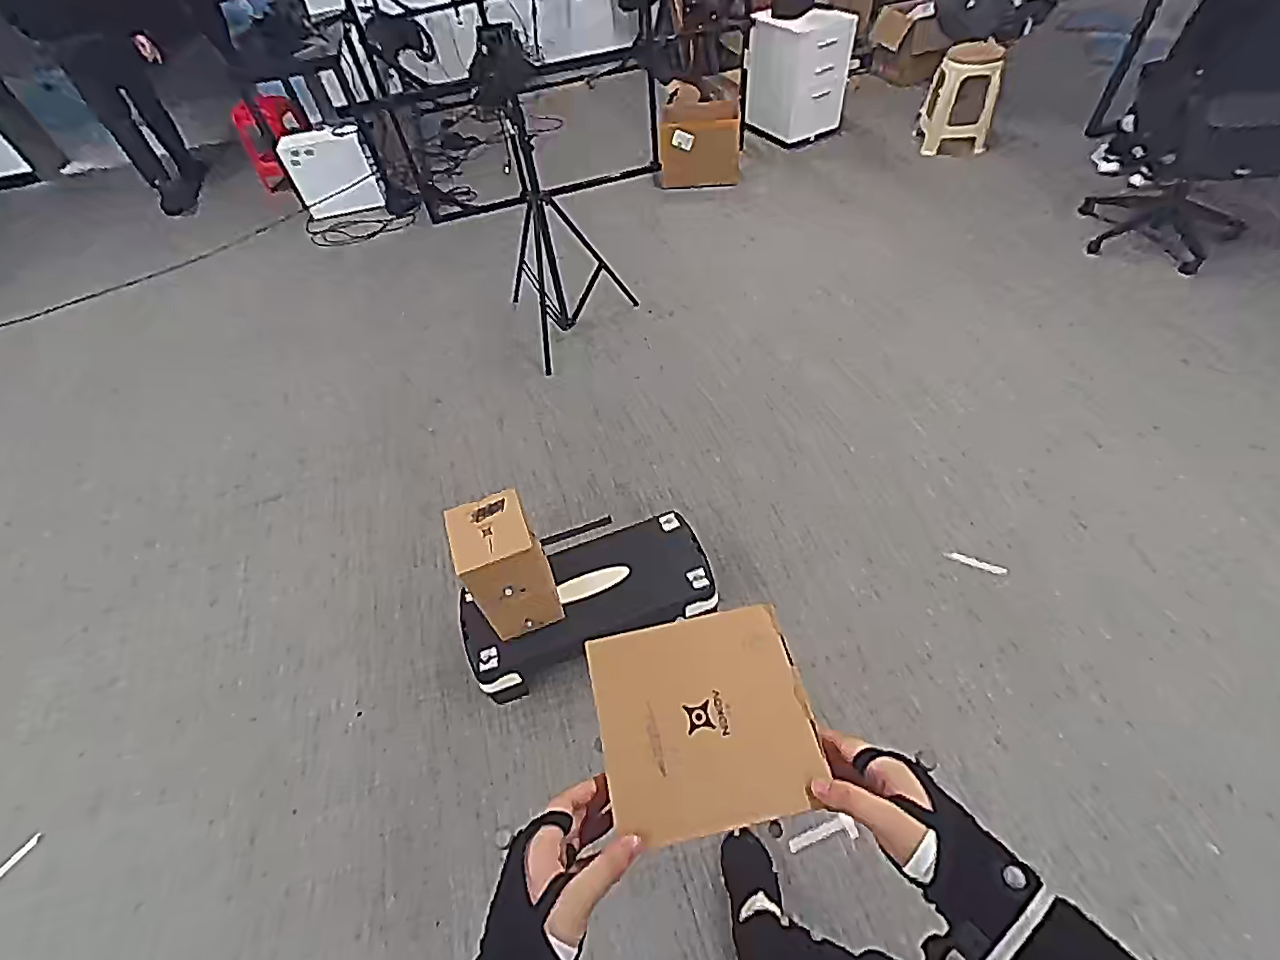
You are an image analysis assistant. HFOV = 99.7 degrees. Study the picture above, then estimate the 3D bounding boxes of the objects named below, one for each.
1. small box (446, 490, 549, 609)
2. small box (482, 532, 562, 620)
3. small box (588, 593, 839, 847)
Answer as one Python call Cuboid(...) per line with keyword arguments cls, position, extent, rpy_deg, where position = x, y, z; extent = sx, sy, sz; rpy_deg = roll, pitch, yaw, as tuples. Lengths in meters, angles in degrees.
Cuboid(cls="small box", position=(-0.320, 0.159, 1.224), extent=(0.168, 0.176, 0.179), rpy_deg=(-20, 52, -9))
Cuboid(cls="small box", position=(-0.301, 0.264, 1.348), extent=(0.168, 0.176, 0.179), rpy_deg=(-19, 52, -9))
Cuboid(cls="small box", position=(0.058, 0.230, 0.518), extent=(0.179, 0.176, 0.168), rpy_deg=(-14, 58, -4))
